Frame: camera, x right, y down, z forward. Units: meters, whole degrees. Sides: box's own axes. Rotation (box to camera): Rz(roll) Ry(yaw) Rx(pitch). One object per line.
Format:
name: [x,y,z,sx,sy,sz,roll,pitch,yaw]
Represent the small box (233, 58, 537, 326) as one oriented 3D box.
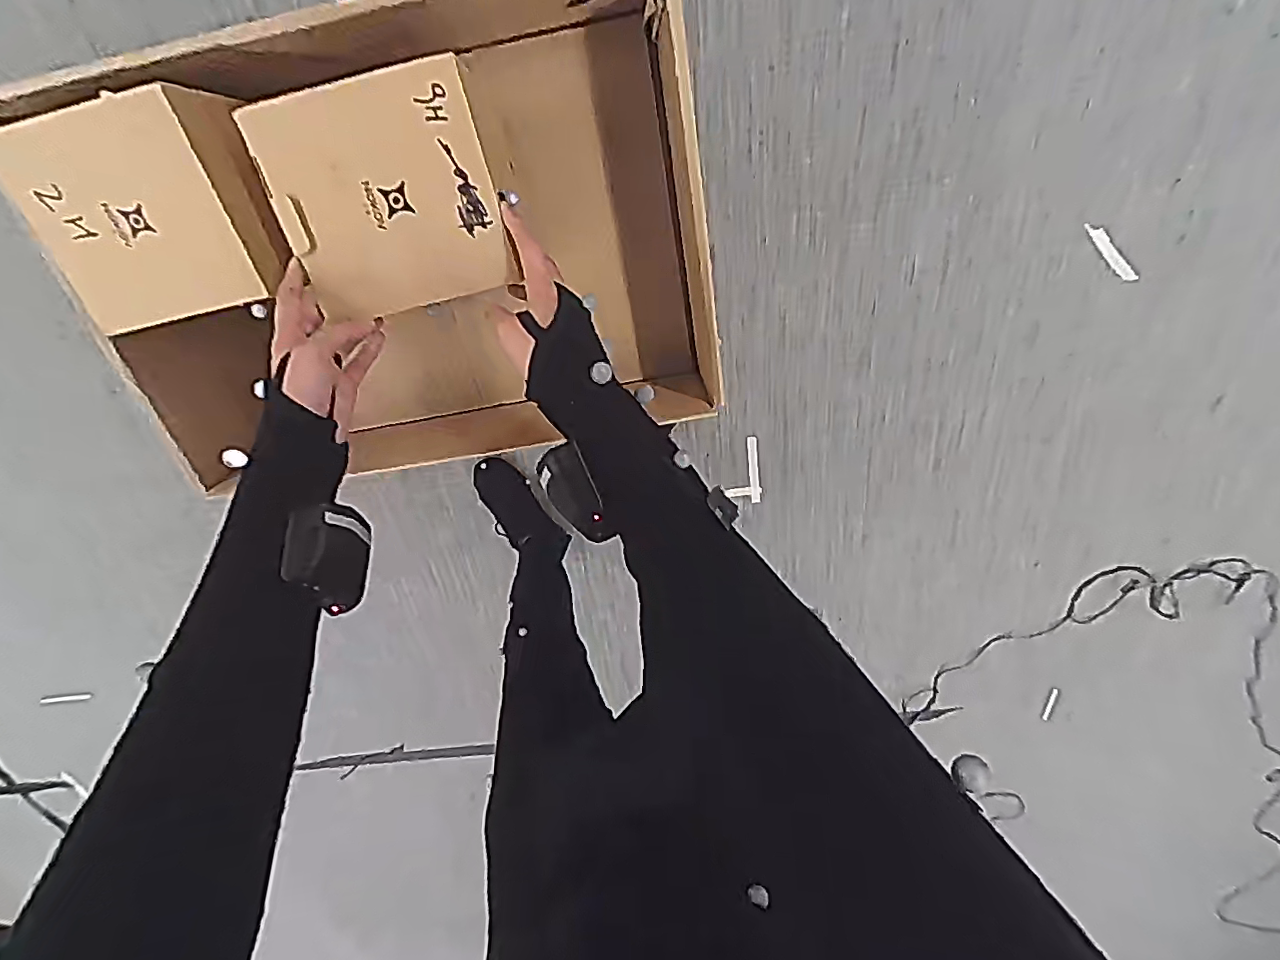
small box: [-0.211,-0.253,0.508,0.179,0.176,0.168,-12,114,3]
